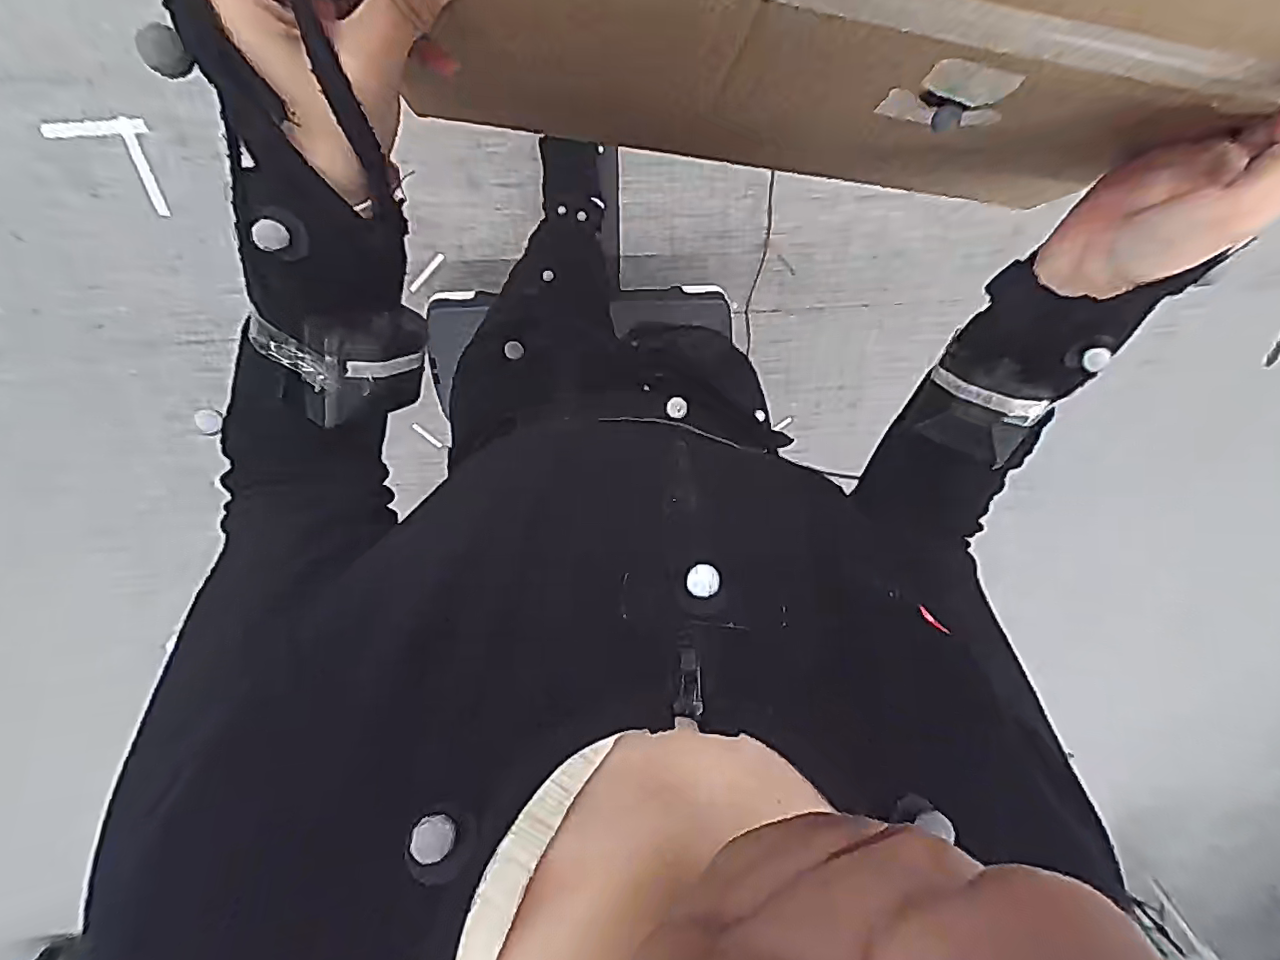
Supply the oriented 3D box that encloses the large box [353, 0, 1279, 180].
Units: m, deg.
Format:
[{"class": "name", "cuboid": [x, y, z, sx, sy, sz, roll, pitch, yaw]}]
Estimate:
[{"class": "large box", "cuboid": [0.087, -0.337, 0.172, 0.408, 0.320, 0.320, 3, 100, -7]}]
